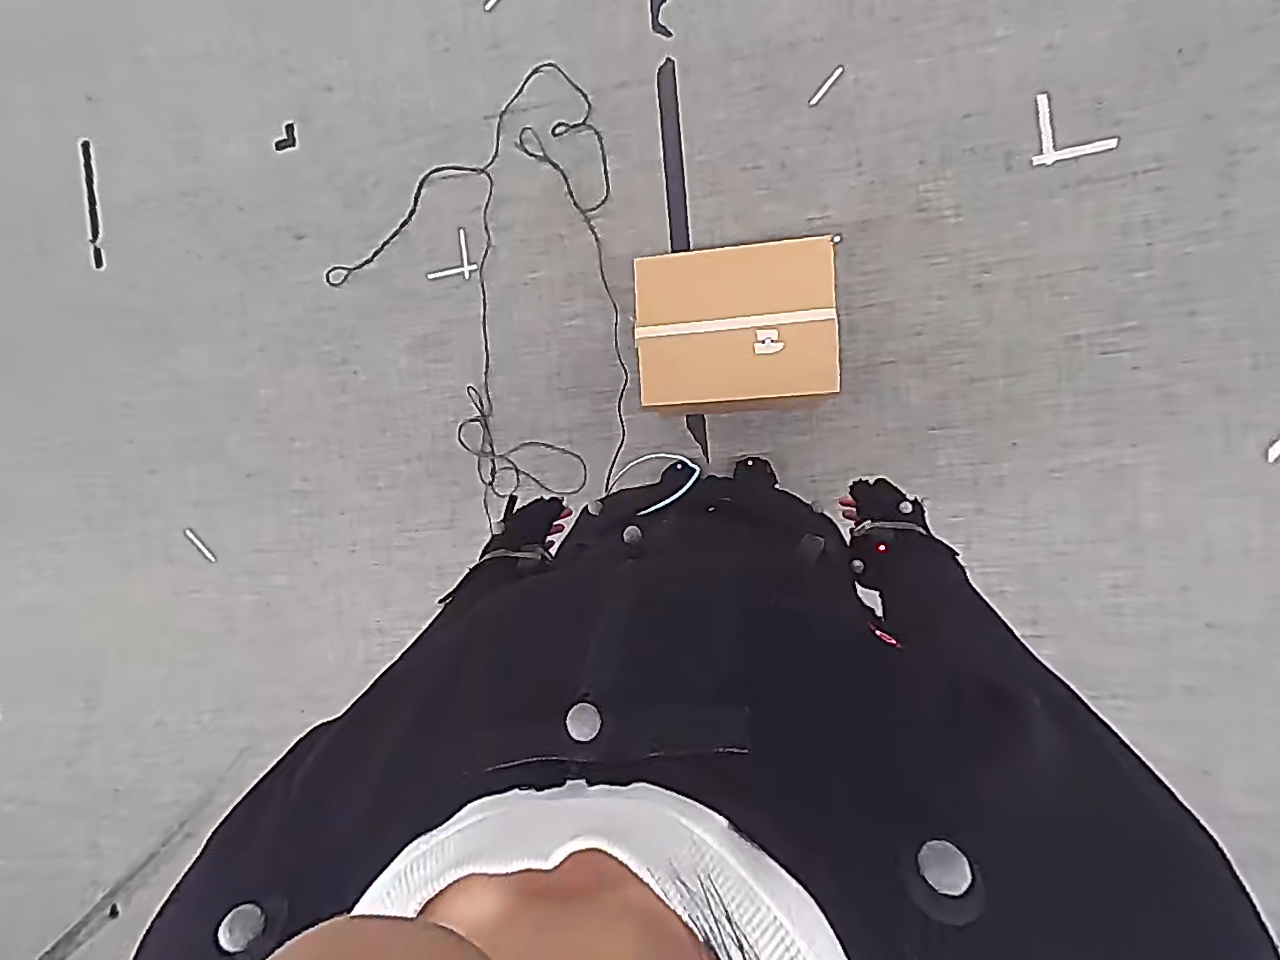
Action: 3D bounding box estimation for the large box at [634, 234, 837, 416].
[{"bbox_3d":[0.213,-0.332,1.261,0.408,0.320,0.320,-3,92,9],"label":"large box"}]
